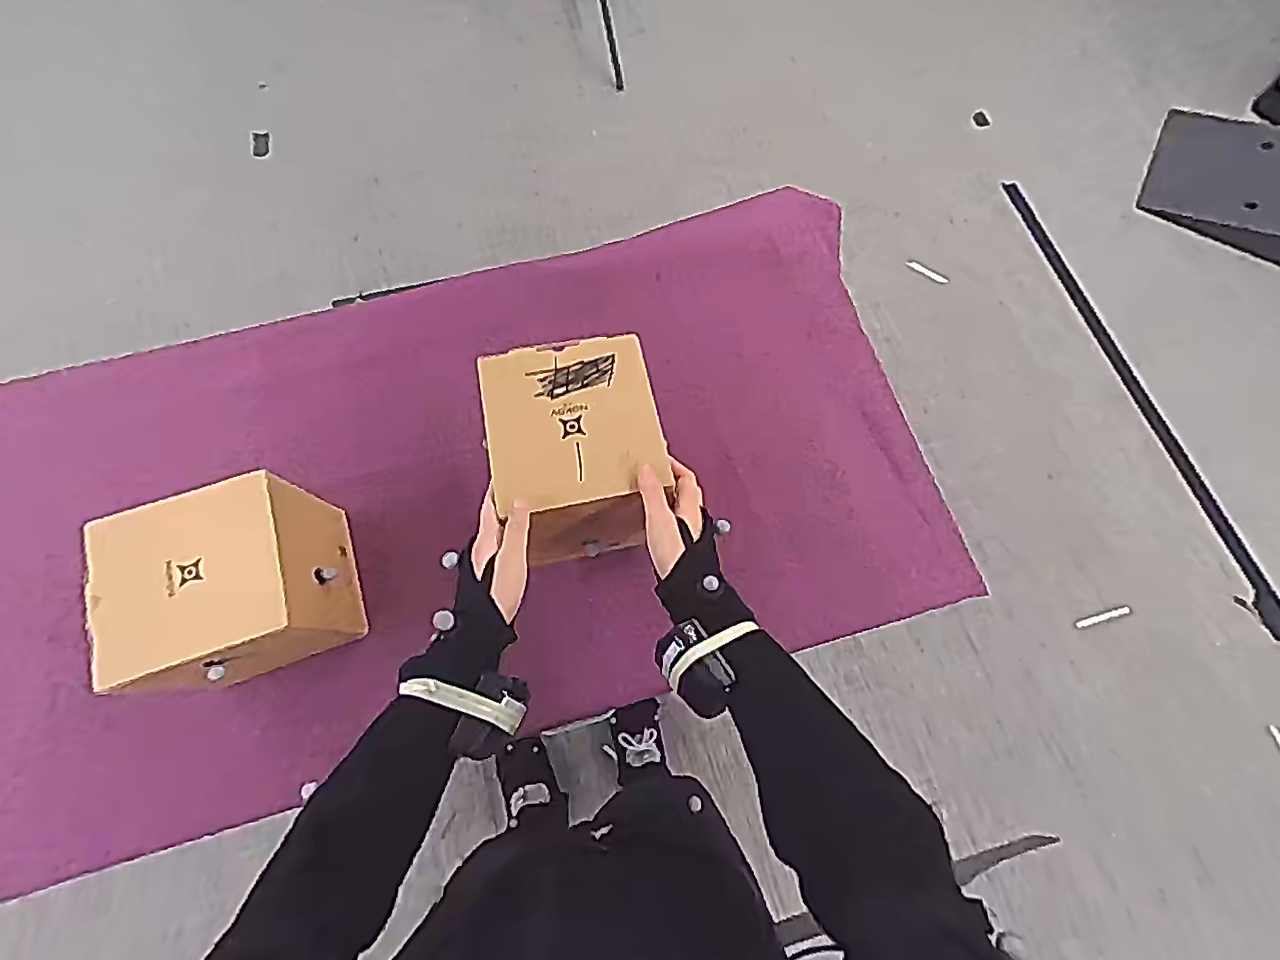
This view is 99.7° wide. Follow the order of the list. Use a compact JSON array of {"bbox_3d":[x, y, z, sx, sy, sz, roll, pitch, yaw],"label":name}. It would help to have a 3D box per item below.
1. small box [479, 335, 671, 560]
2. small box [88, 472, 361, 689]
[{"bbox_3d":[-0.070,-0.028,0.591,0.168,0.176,0.179,-10,68,-6],"label":"small box"},{"bbox_3d":[-0.432,0.112,0.593,0.179,0.176,0.168,-19,74,-6],"label":"small box"}]
